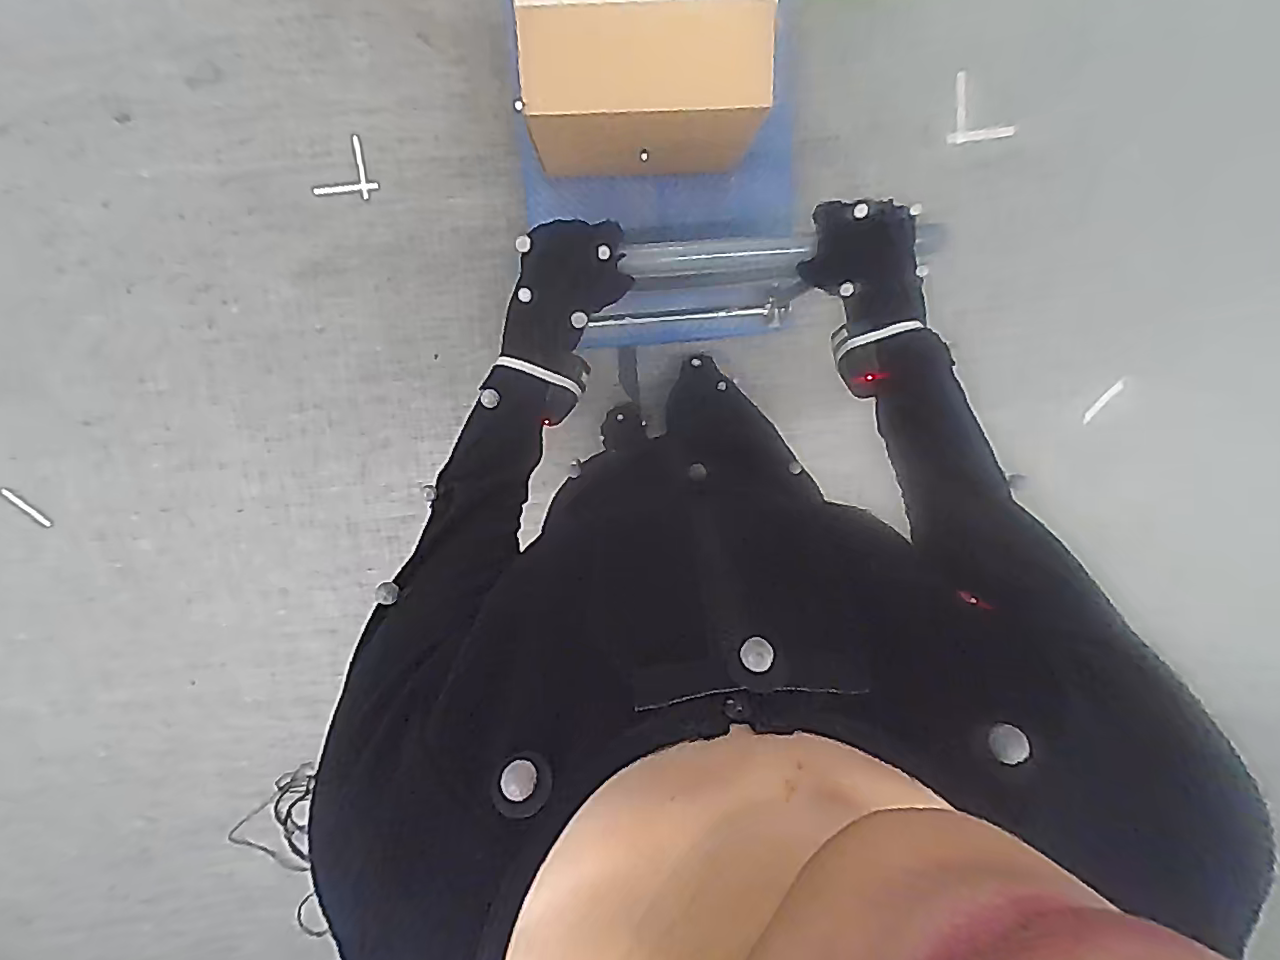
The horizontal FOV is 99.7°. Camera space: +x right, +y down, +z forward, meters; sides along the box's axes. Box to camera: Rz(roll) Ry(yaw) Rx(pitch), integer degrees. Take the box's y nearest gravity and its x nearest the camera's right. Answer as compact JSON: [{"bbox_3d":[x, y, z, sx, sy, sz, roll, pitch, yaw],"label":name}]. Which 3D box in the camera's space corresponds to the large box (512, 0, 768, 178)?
[{"bbox_3d":[-0.002,-0.774,0.989,0.408,0.320,0.320,-3,102,-1],"label":"large box"}]
